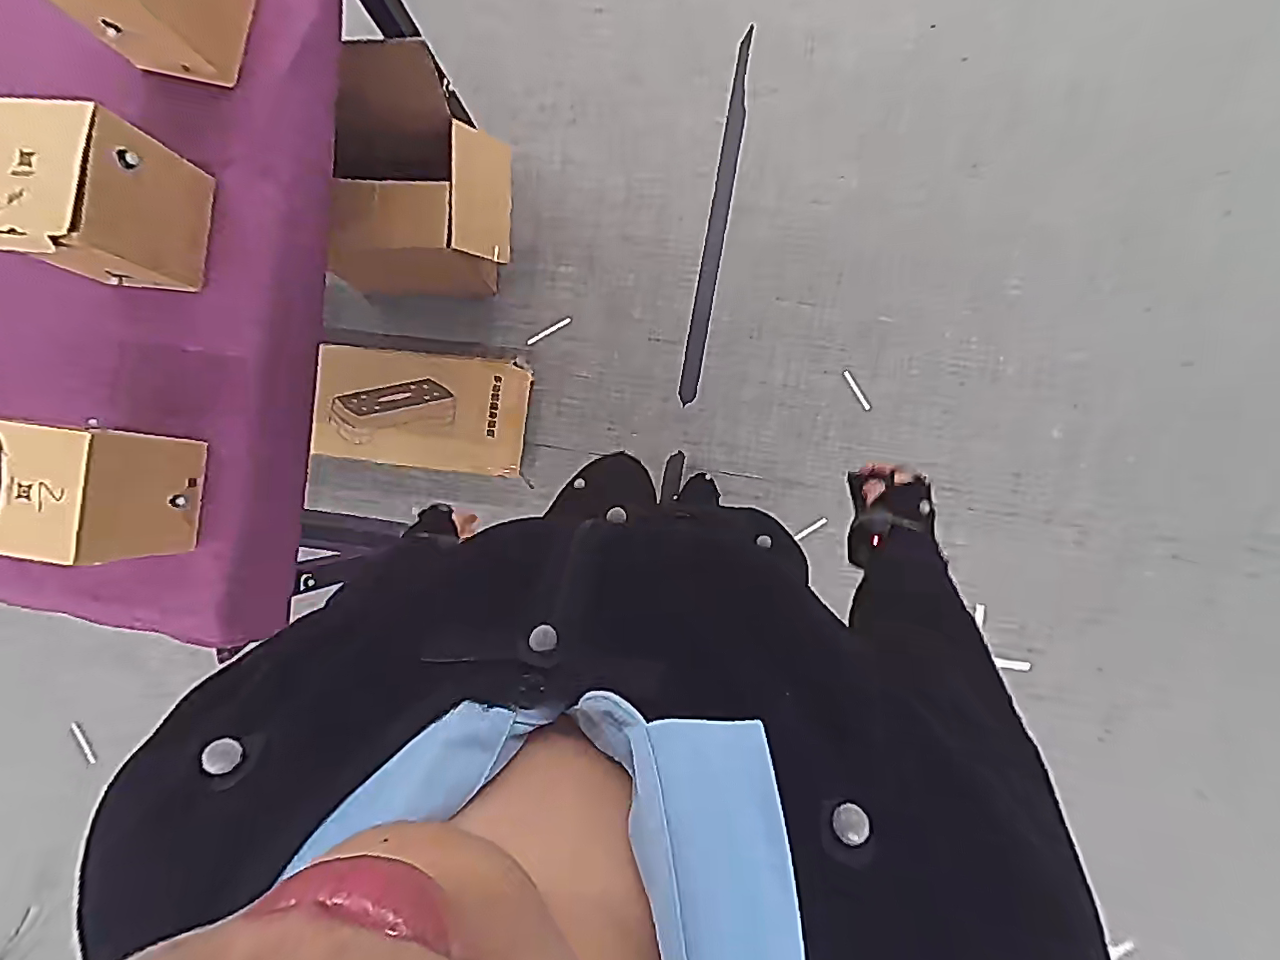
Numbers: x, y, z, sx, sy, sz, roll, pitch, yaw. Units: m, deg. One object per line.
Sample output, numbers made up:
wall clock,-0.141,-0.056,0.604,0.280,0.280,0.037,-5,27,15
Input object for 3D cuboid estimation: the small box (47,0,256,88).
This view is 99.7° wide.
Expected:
small box,-0.676,-0.689,0.743,0.168,0.176,0.179,14,90,5

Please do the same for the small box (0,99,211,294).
small box,-0.739,-0.377,0.741,0.168,0.176,0.179,7,90,7
